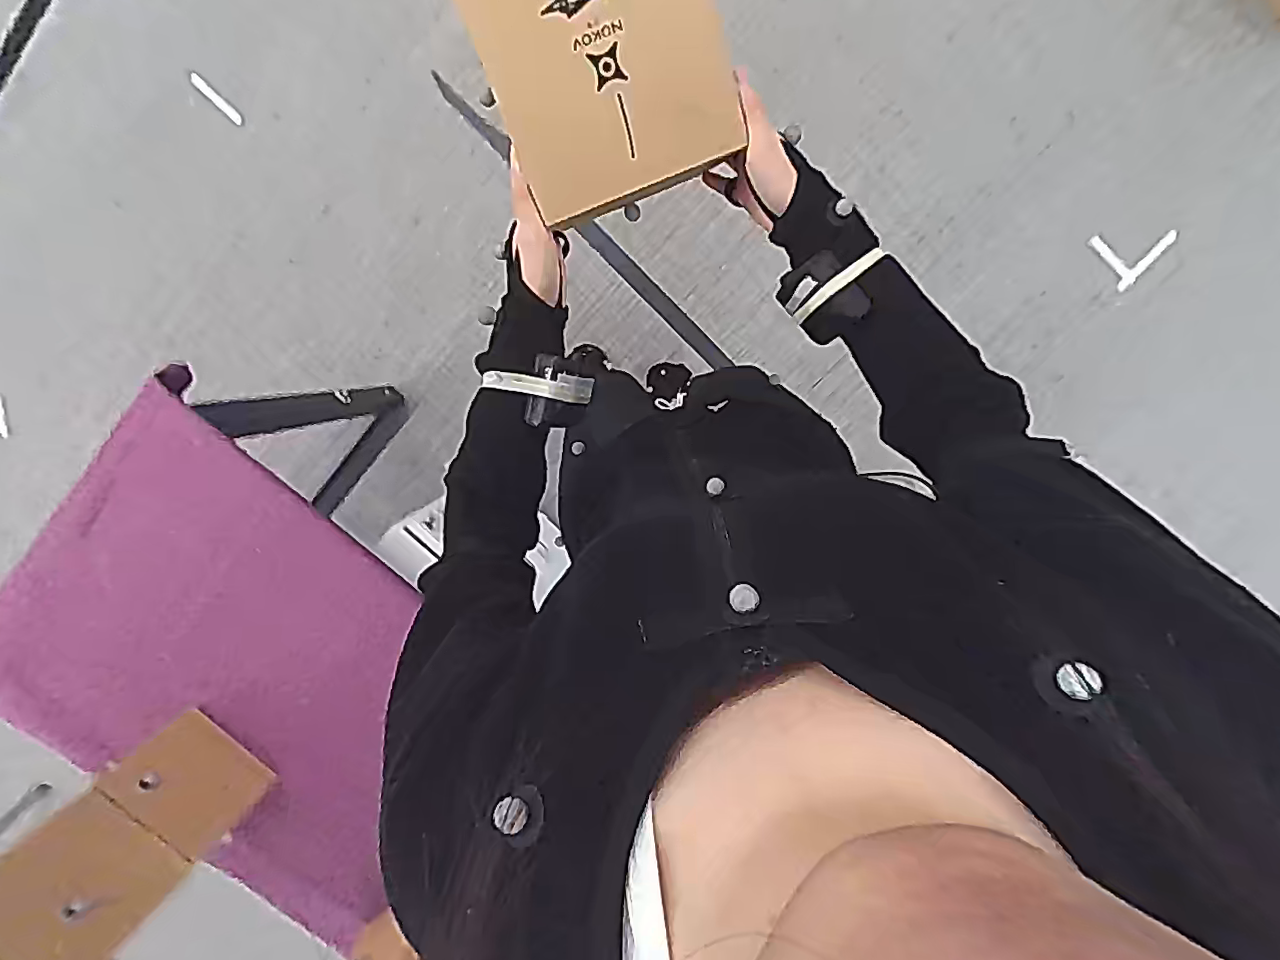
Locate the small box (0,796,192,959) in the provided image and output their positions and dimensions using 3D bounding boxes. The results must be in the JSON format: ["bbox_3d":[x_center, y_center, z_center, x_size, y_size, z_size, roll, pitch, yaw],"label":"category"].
[{"bbox_3d":[-0.702,0.527,0.640,0.168,0.176,0.179,-42,99,8],"label":"small box"}]

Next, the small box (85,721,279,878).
[{"bbox_3d":[-0.698,0.492,0.801,0.168,0.176,0.179,-43,98,9],"label":"small box"}]

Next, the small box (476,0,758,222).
[{"bbox_3d":[-0.023,-0.328,0.440,0.168,0.176,0.179,-19,114,4],"label":"small box"}]
